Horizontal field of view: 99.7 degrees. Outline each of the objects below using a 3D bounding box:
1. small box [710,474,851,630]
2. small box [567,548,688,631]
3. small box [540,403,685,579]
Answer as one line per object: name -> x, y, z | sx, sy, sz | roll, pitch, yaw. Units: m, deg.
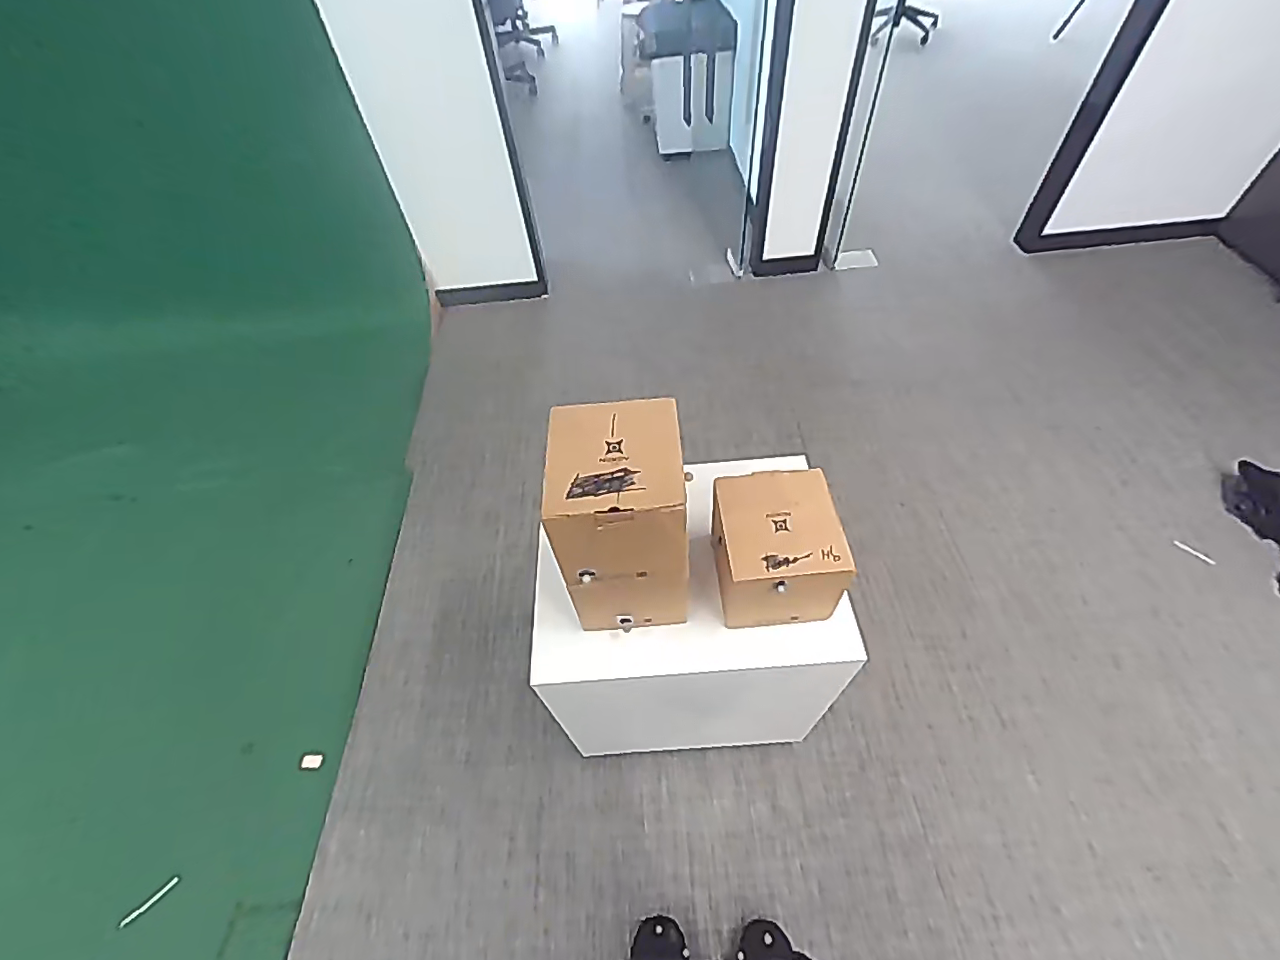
small box -> 0.202, 0.113, 0.836 | 0.168, 0.176, 0.179 | -5, 51, 1
small box -> -0.019, 0.114, 0.837 | 0.168, 0.176, 0.179 | -7, 53, 0
small box -> -0.028, 0.022, 0.721 | 0.168, 0.176, 0.179 | -4, 51, 2
